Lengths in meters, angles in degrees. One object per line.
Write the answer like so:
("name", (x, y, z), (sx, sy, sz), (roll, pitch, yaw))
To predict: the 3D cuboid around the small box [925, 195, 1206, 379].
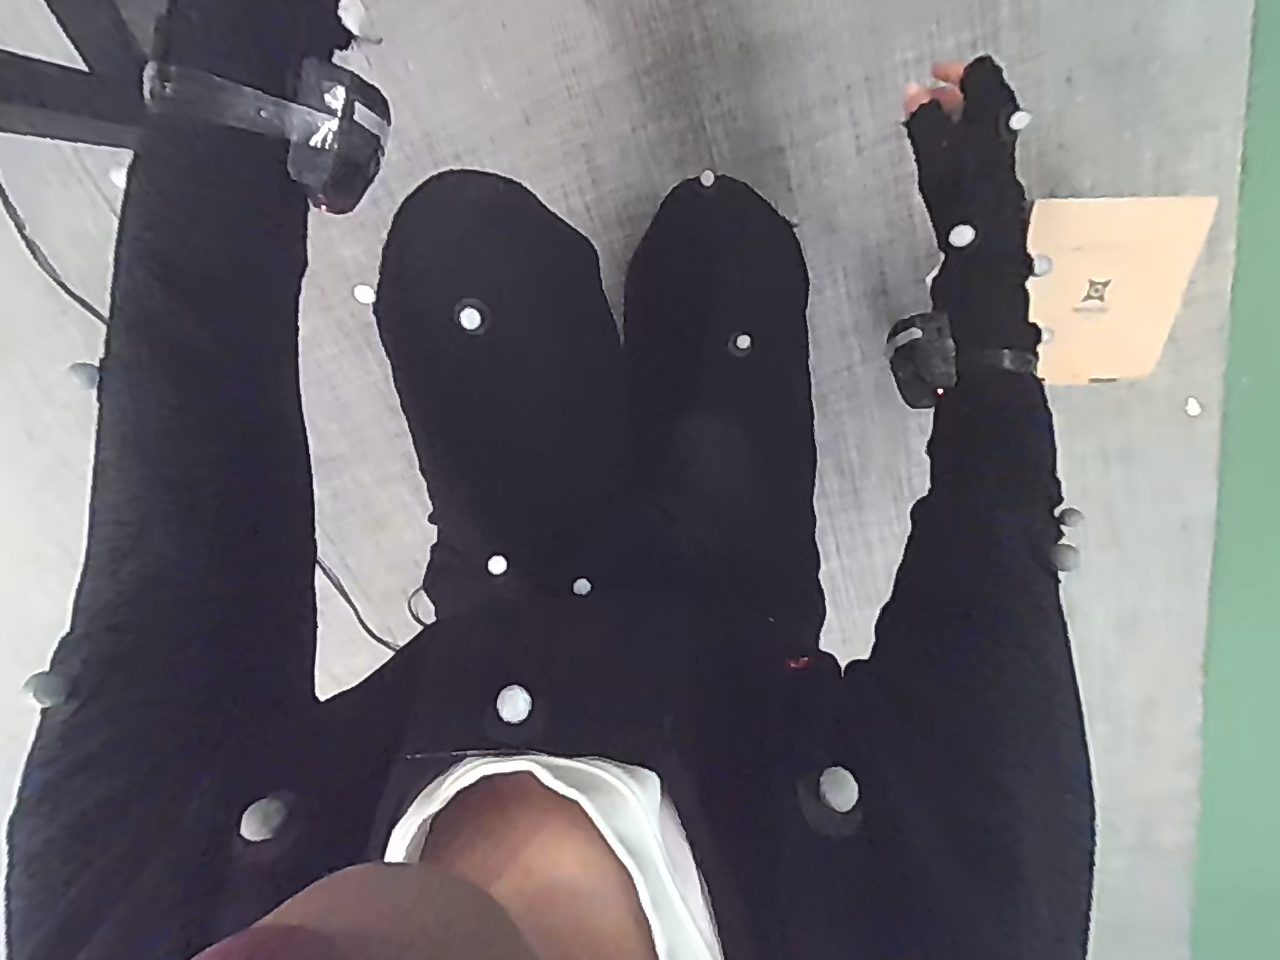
("small box", (0.450, -0.222, 0.613), (0.168, 0.176, 0.179), (1, 115, 3))
